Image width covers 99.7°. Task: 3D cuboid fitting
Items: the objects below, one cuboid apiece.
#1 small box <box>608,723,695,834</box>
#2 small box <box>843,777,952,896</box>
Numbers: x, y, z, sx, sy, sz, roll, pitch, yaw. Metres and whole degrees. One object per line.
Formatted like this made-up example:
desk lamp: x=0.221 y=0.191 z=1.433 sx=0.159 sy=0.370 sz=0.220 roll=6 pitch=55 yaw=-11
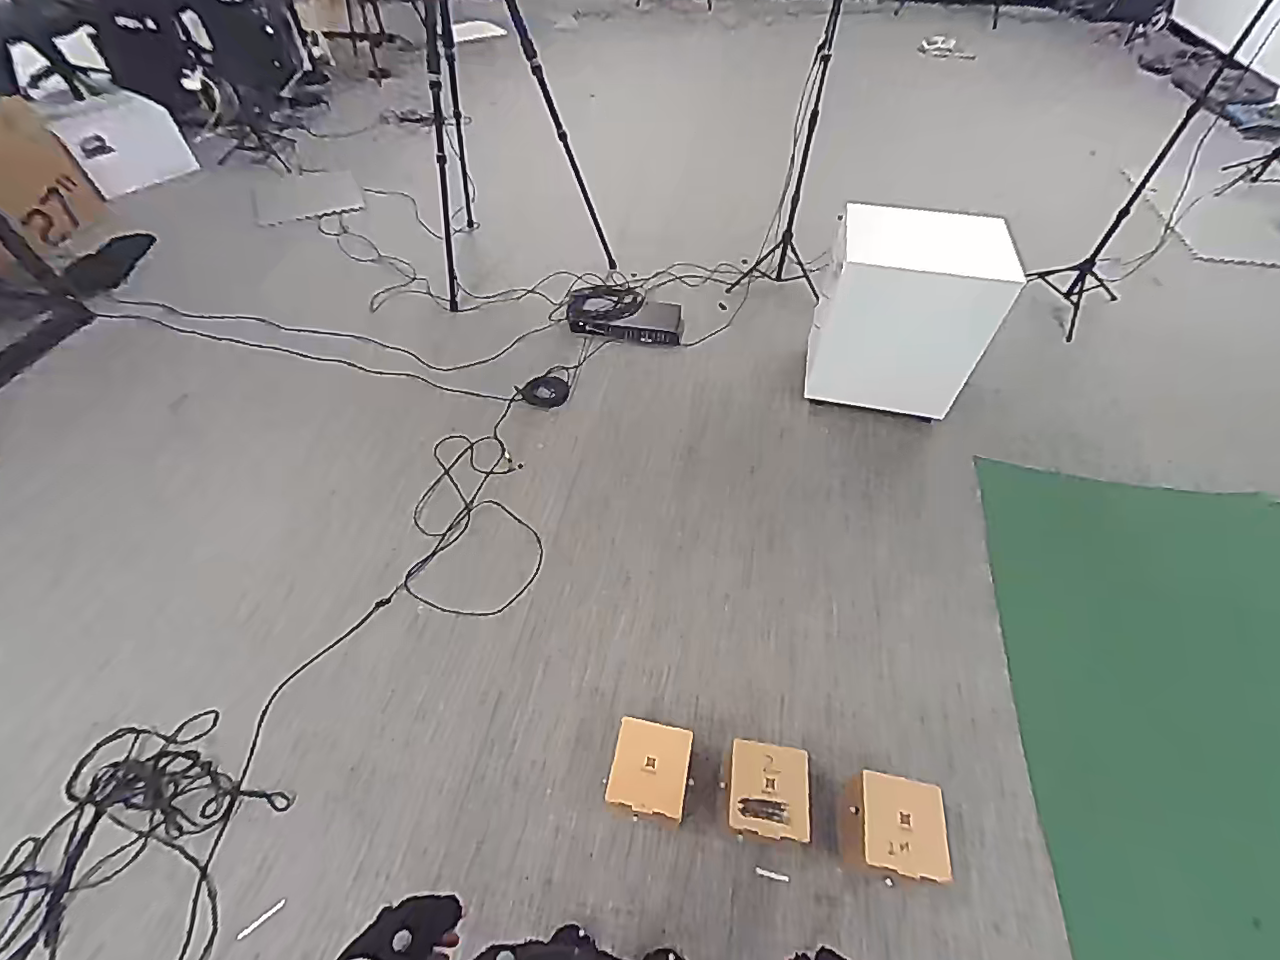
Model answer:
small box: x=0.027 y=0.689 z=1.245 sx=0.168 sy=0.176 sz=0.179 roll=9 pitch=52 yaw=9
small box: x=0.546 y=0.775 z=1.173 sx=0.168 sy=0.176 sz=0.179 roll=9 pitch=52 yaw=8
